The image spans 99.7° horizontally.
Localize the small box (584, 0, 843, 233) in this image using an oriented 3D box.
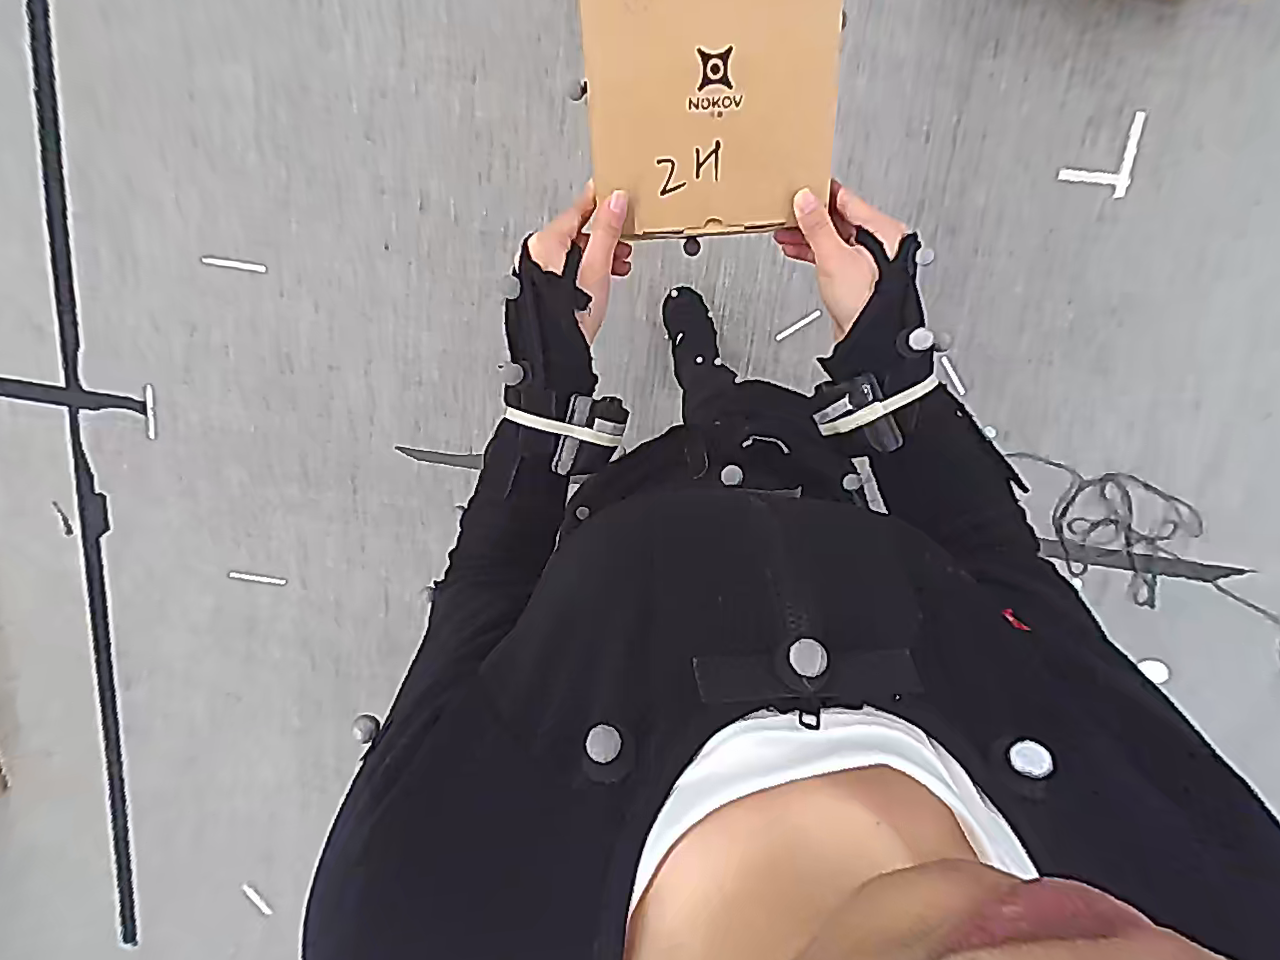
[{"bbox_3d":[0.043,-0.297,0.424,0.168,0.176,0.179,-4,113,-1],"label":"small box"}]
